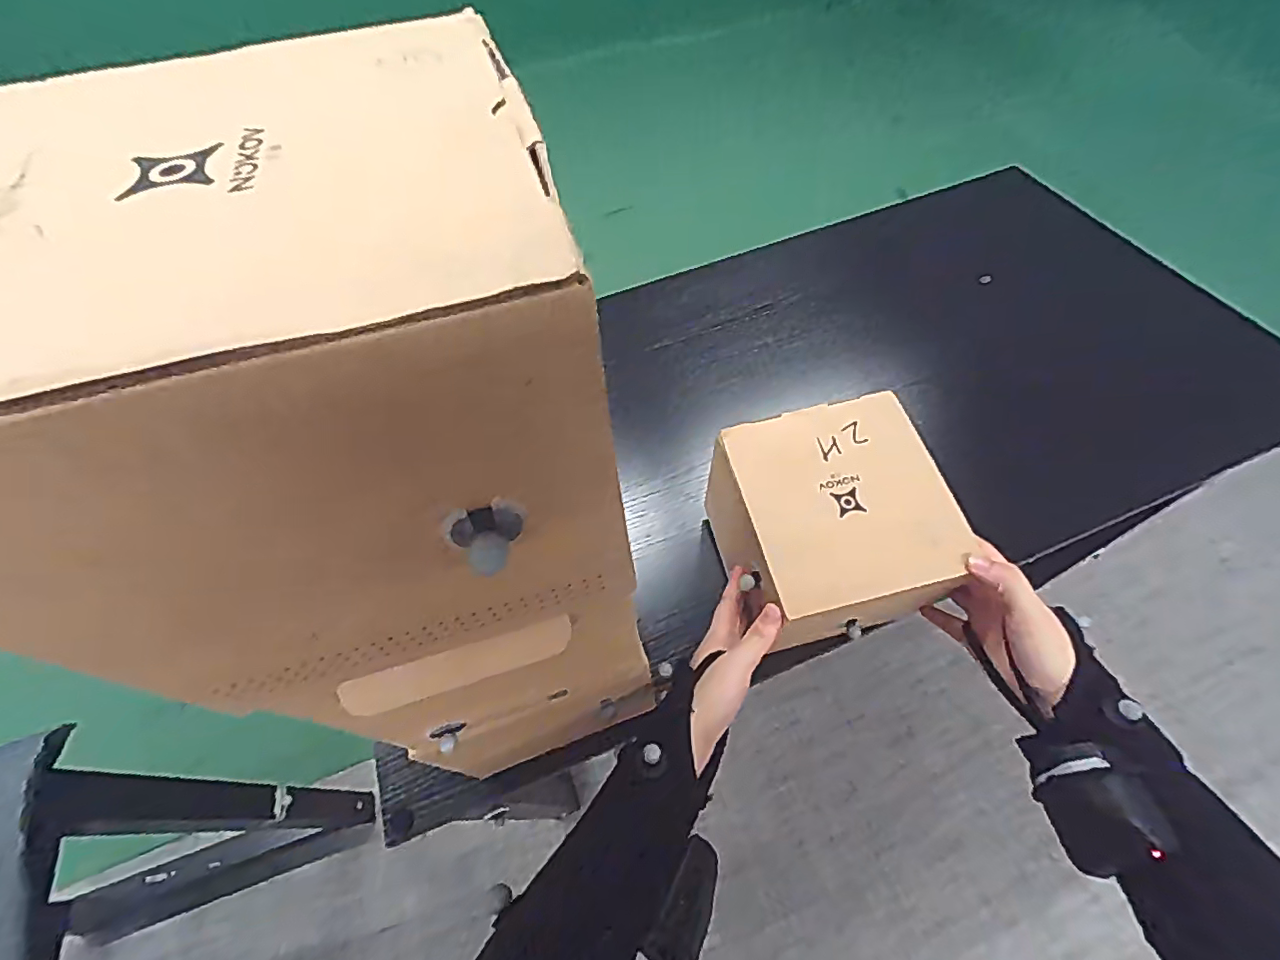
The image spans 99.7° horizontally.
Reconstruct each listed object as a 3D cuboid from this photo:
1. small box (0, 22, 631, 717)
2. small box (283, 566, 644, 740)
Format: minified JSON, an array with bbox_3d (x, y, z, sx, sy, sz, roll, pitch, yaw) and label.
[{"bbox_3d":[-0.106,-0.031,0.207,0.179,0.176,0.168,-17,56,-7],"label":"small box"},{"bbox_3d":[-0.100,0.050,0.348,0.168,0.176,0.179,-17,57,-8],"label":"small box"}]
